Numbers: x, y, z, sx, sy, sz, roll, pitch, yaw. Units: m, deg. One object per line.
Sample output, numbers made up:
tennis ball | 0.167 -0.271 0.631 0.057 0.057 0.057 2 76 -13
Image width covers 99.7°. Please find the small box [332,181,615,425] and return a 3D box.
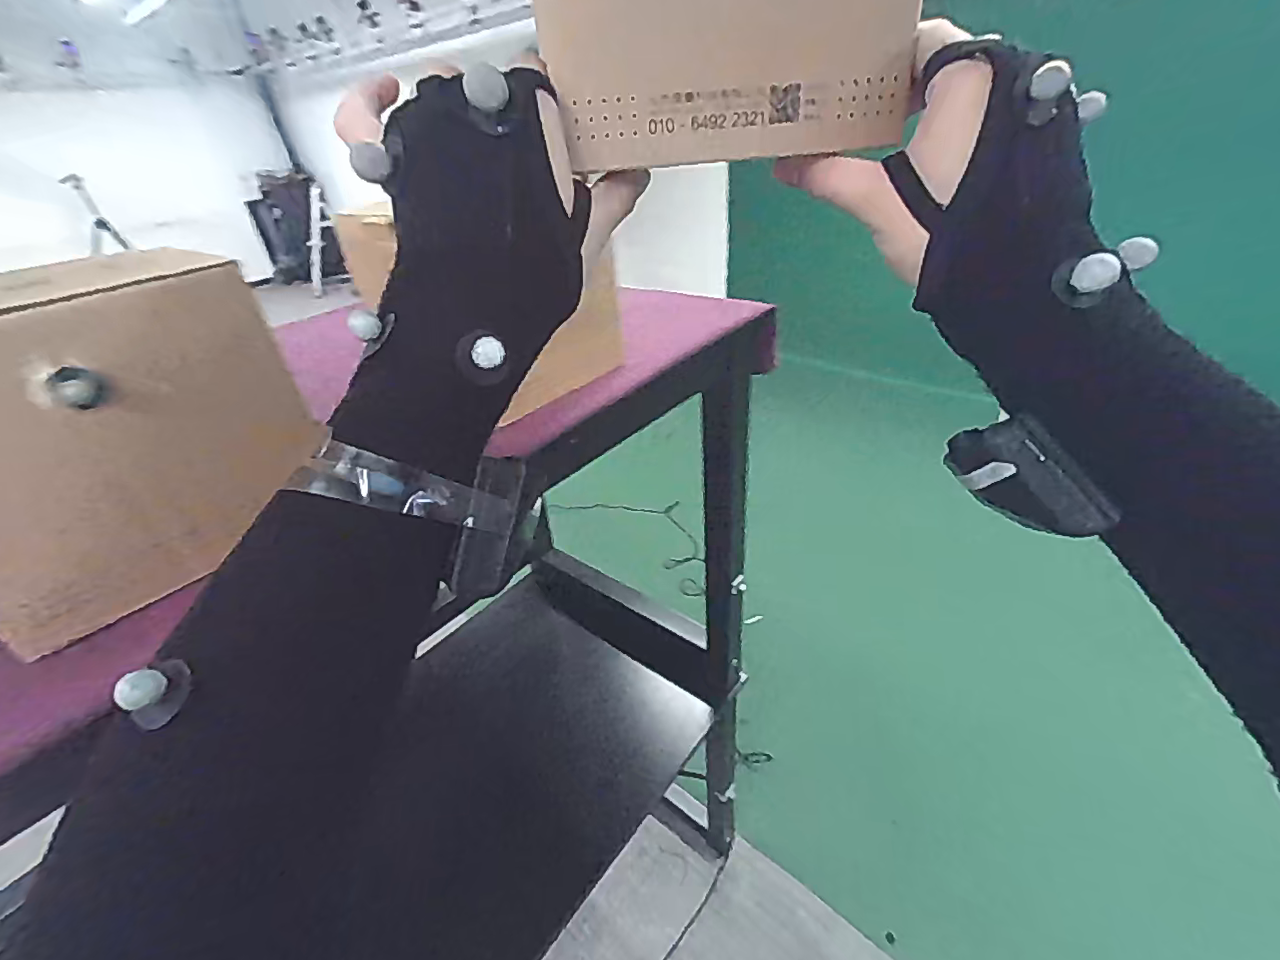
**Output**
small box | -0.139 -0.172 0.510 0.168 0.176 0.179 22 44 34

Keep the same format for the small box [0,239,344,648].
small box | -0.326 -0.035 0.330 0.168 0.176 0.179 23 46 37

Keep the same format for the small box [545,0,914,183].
small box | 0.032 -0.262 0.287 0.168 0.176 0.179 -7 30 -5
